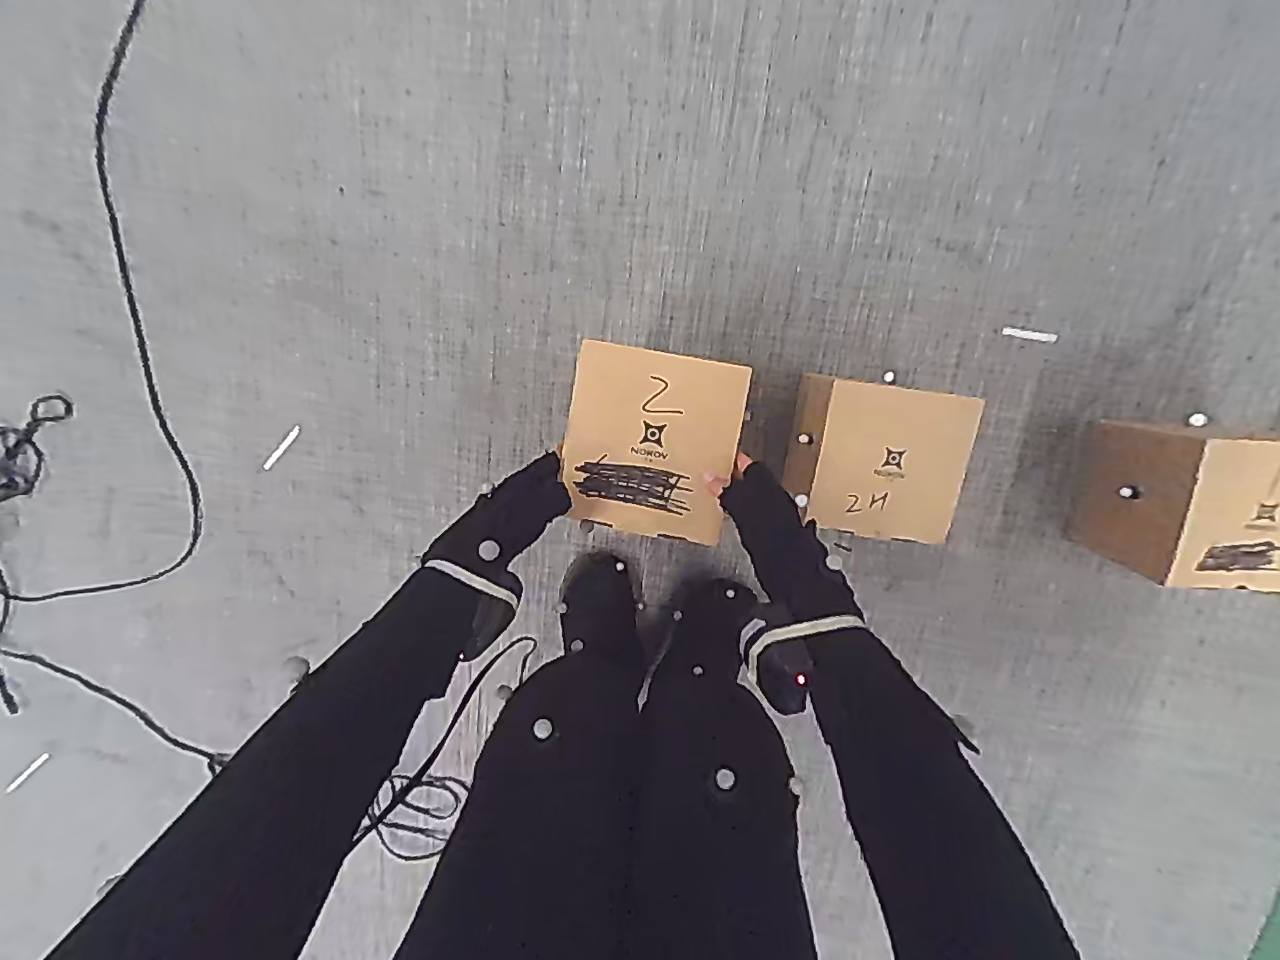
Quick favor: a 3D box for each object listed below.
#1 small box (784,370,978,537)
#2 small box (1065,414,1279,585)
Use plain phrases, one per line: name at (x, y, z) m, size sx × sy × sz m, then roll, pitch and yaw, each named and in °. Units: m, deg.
small box at (0.292, -0.045, 0.700) m, size 0.168 × 0.176 × 0.179 m, roll 9°, pitch 104°, yaw 4°
small box at (0.689, 0.015, 0.685) m, size 0.168 × 0.176 × 0.179 m, roll 3°, pitch 102°, yaw 3°
